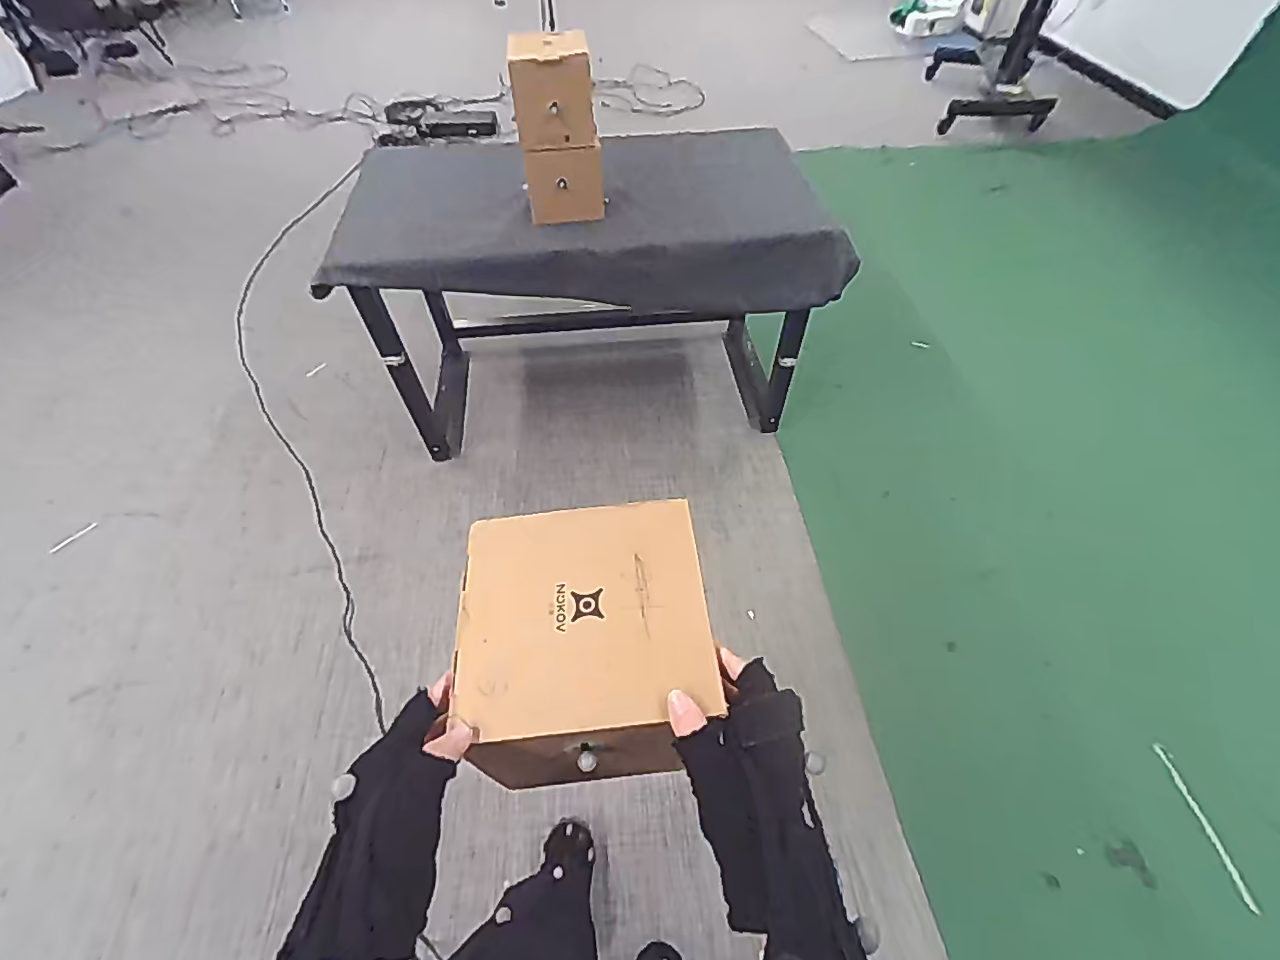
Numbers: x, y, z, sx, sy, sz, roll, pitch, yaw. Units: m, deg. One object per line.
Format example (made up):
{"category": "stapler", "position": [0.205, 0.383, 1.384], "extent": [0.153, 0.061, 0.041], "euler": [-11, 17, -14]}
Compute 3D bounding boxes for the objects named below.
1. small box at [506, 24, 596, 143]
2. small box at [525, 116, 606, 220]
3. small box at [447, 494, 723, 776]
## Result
{"category": "small box", "position": [-0.188, -0.847, 1.167], "extent": [0.168, 0.176, 0.179], "euler": [-6, 54, -4]}
{"category": "small box", "position": [-0.177, -0.746, 1.294], "extent": [0.179, 0.176, 0.168], "euler": [-8, 54, -7]}
{"category": "small box", "position": [-0.037, 0.132, 0.444], "extent": [0.179, 0.176, 0.168], "euler": [-6, 54, -2]}
